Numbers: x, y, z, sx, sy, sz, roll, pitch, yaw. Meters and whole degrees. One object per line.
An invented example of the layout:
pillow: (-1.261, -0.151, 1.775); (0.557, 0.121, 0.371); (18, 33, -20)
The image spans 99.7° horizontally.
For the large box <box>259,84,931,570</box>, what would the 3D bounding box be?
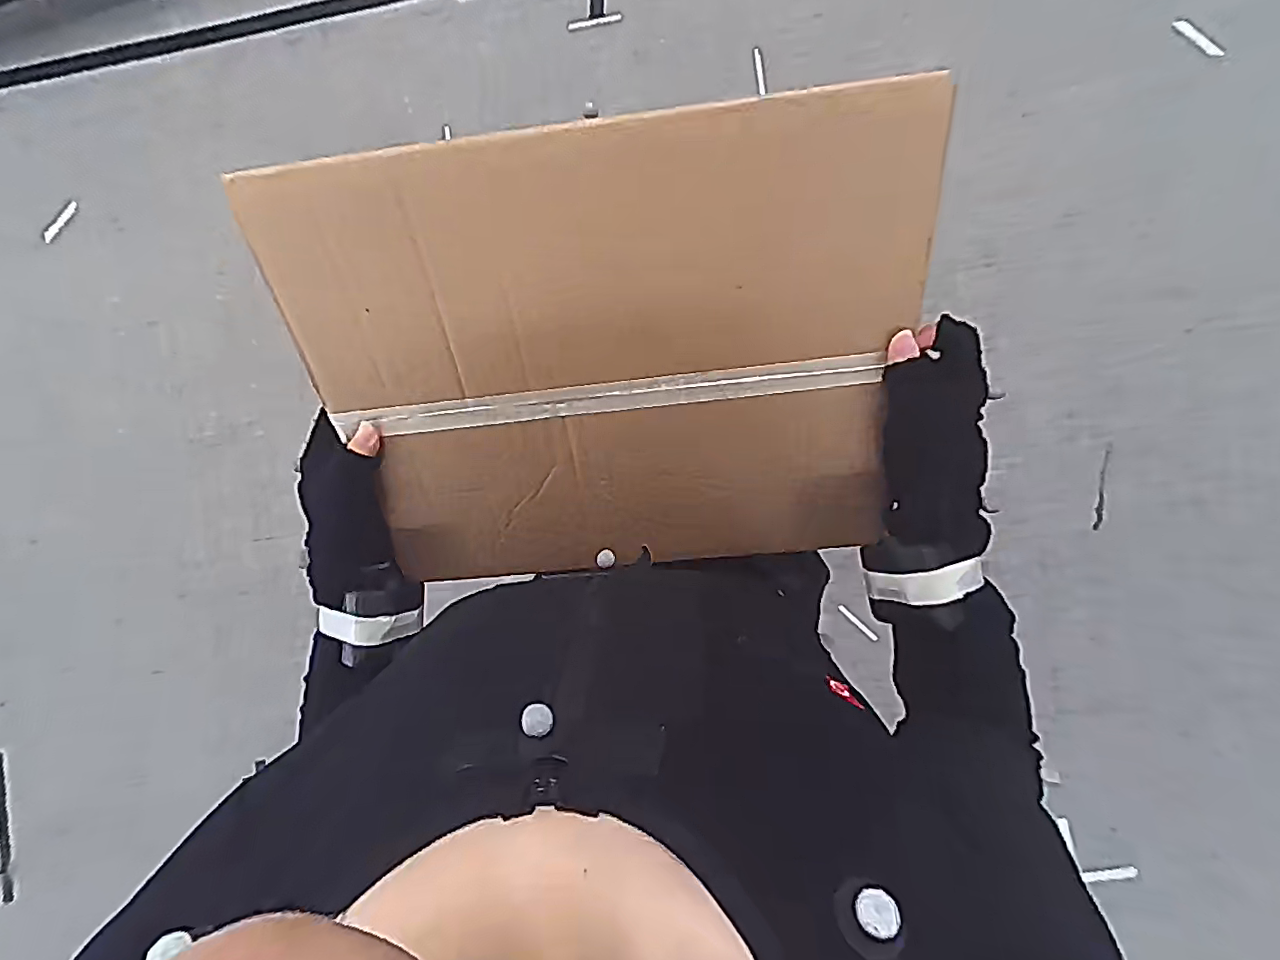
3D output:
large box: (-0.014, -0.148, 0.513); (0.408, 0.320, 0.320); (-6, 123, 4)
